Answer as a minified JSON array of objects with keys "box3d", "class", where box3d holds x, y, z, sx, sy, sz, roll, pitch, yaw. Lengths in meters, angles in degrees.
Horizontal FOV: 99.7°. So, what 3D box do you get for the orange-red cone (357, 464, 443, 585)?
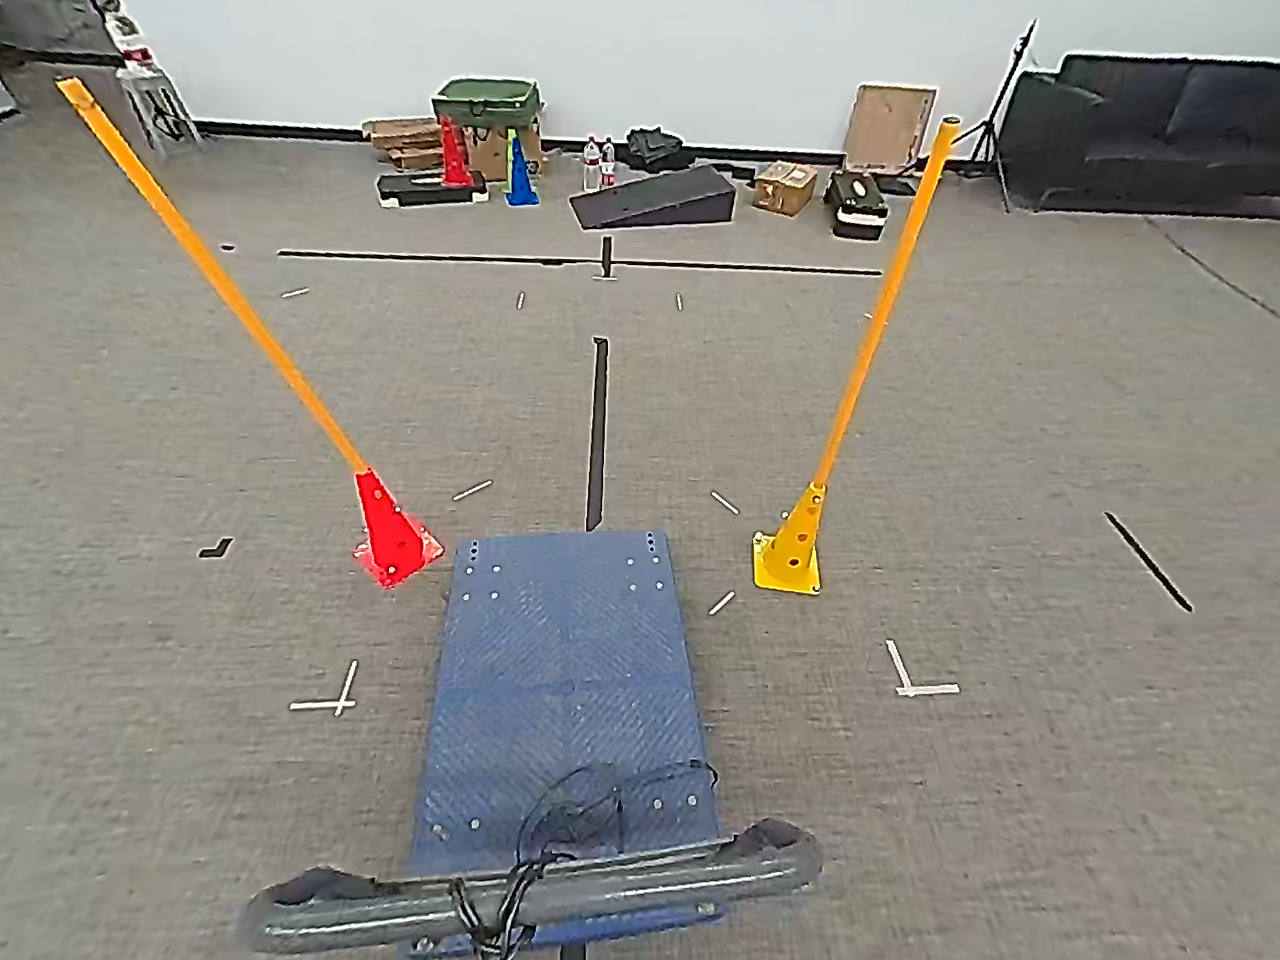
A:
[{"box3d":[-0.714,0.091,1.513,0.198,0.360,0.199,37,53,26],"class":"orange-red cone"}]
